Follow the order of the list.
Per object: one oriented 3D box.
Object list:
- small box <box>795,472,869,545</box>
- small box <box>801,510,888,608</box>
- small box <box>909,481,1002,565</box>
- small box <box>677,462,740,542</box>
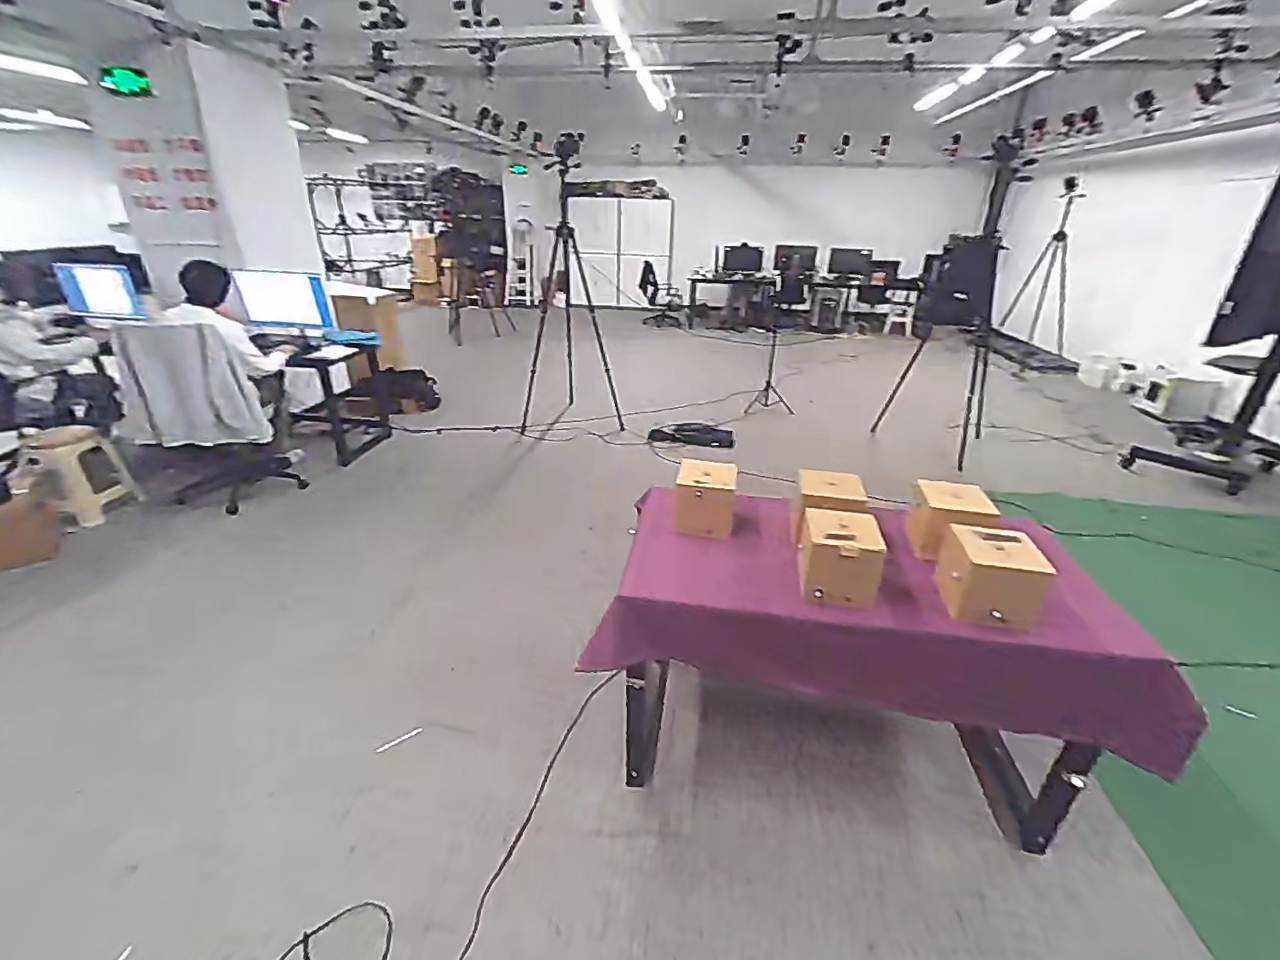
[{"bbox_3d":[0.545,0.090,1.558,0.179,0.176,0.168,7,27,11],"label":"small box"},{"bbox_3d":[0.497,0.194,1.335,0.168,0.176,0.179,6,25,10],"label":"small box"},{"bbox_3d":[0.867,0.119,1.503,0.168,0.176,0.179,6,25,11],"label":"small box"},{"bbox_3d":[0.203,0.064,1.603,0.168,0.176,0.179,5,26,9],"label":"small box"}]
